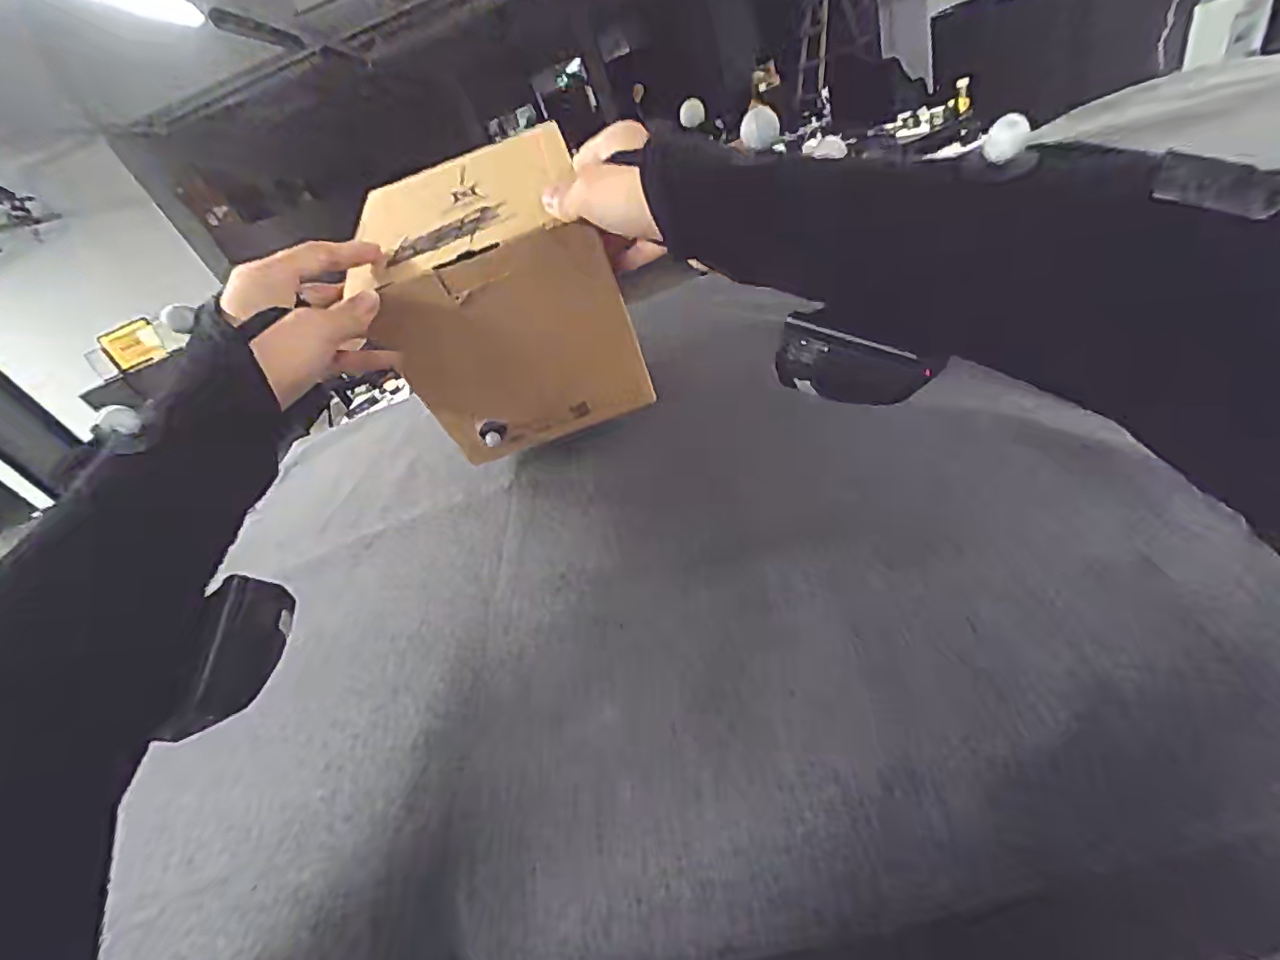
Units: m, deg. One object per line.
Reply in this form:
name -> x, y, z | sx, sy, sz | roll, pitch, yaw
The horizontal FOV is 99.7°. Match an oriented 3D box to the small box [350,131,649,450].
small box -> -0.101, -0.146, 0.447 | 0.168, 0.176, 0.179 | -19, 48, 3
